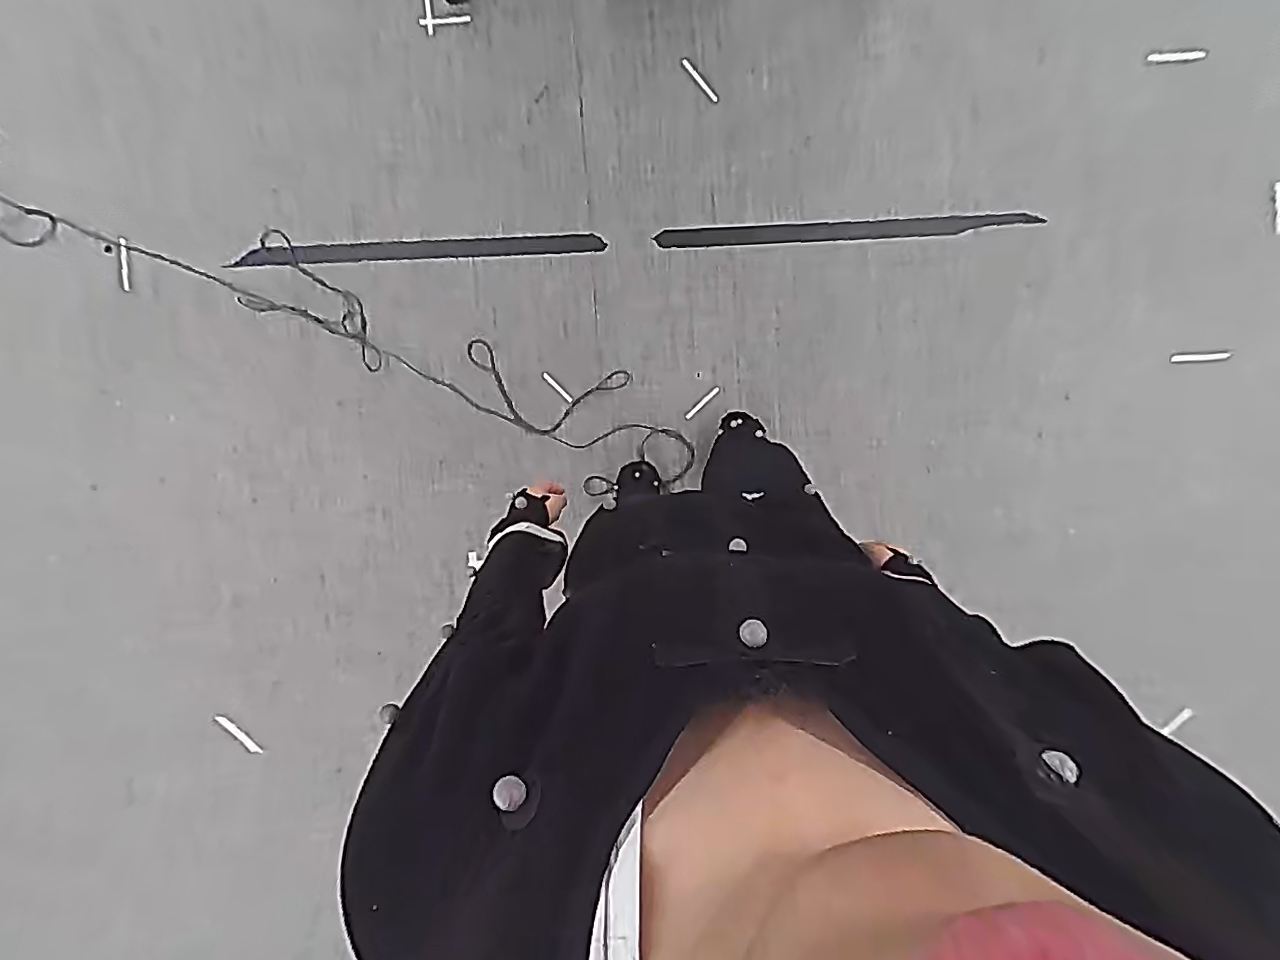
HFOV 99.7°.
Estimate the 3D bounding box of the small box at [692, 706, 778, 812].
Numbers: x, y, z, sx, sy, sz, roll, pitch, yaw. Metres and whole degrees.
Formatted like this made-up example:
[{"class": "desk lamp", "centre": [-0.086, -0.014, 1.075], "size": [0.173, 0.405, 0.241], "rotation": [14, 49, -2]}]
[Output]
[{"class": "small box", "centre": [0.240, 0.712, 1.409], "size": [0.168, 0.176, 0.179], "rotation": [-16, 91, 0]}]
